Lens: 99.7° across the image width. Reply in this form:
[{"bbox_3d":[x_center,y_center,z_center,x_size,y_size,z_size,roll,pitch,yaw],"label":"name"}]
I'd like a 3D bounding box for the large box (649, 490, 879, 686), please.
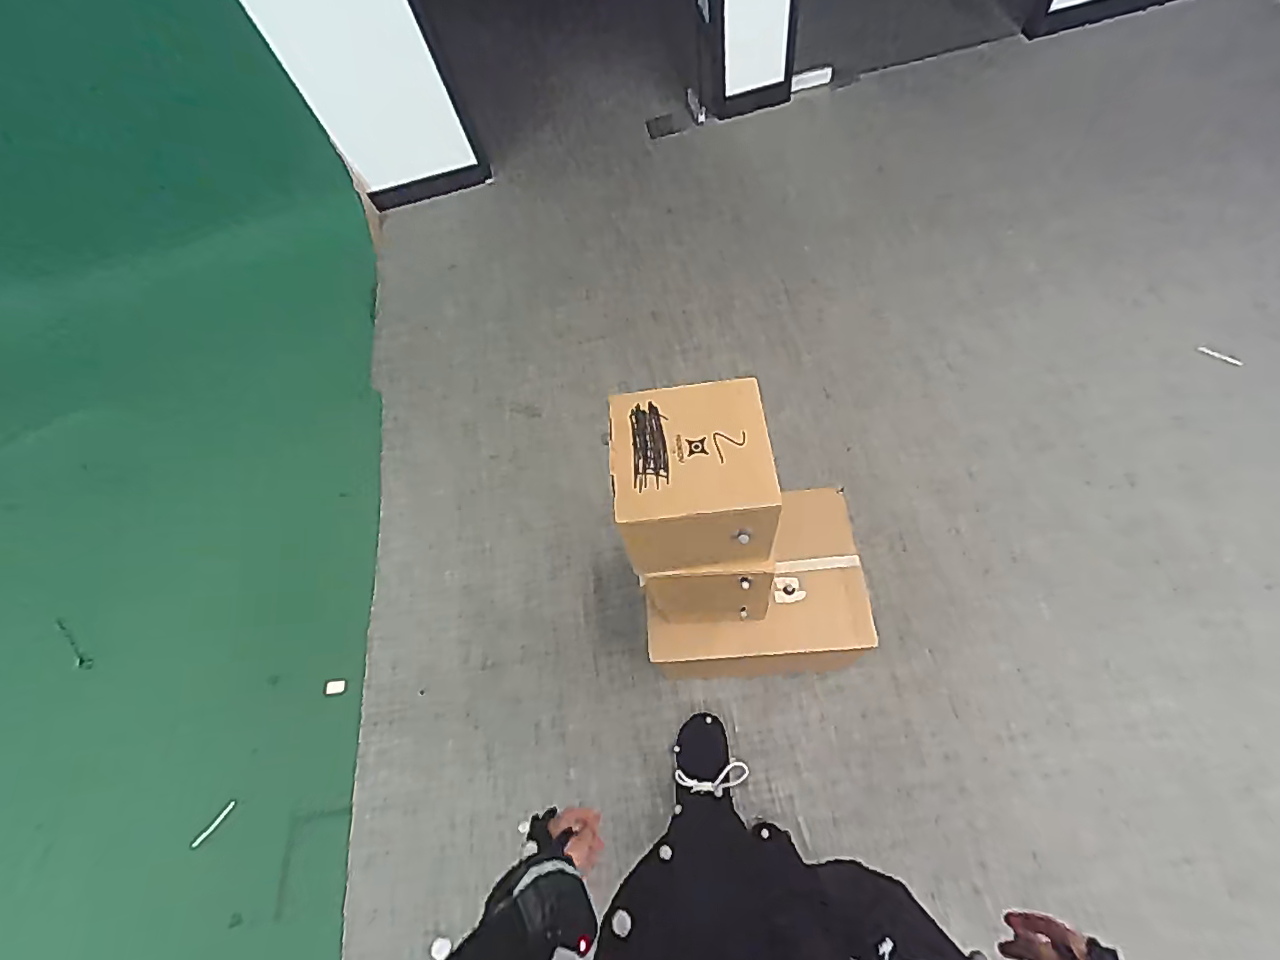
[{"bbox_3d":[0.230,0.245,1.153,0.408,0.320,0.320,-6,64,5],"label":"large box"}]

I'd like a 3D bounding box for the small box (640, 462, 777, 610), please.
[{"bbox_3d":[0.099,0.090,0.795,0.179,0.176,0.168,-4,62,6],"label":"small box"}]

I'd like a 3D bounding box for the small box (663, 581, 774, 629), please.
[{"bbox_3d":[0.128,0.156,0.941,0.179,0.176,0.168,-7,61,7],"label":"small box"}]
